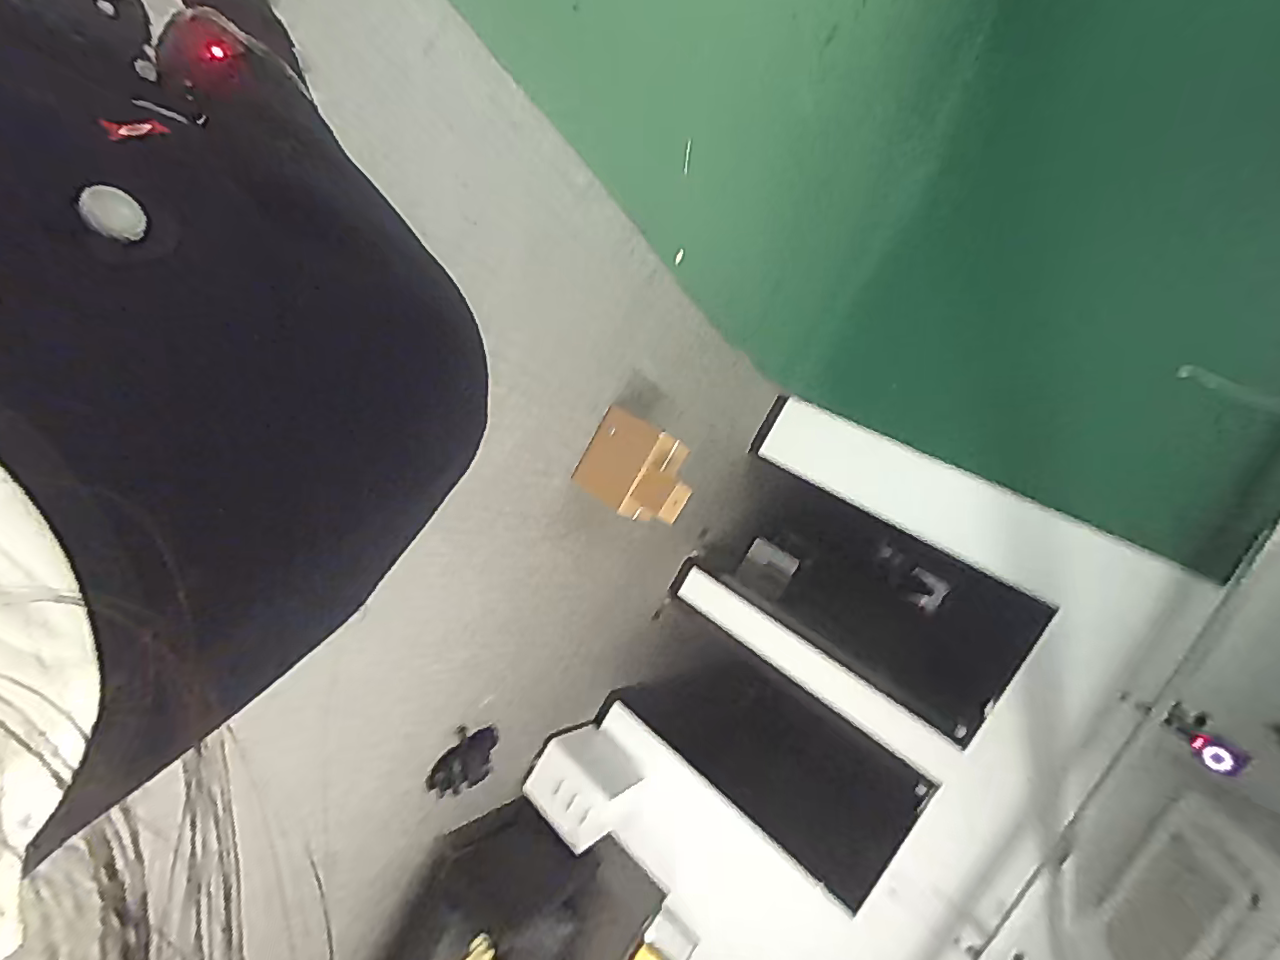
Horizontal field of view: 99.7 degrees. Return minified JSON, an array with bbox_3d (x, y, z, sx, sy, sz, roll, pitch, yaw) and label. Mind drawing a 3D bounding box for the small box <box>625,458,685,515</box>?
[{"bbox_3d":[0.064,0.027,2.379,0.179,0.176,0.168,-57,149,1],"label":"small box"}]
